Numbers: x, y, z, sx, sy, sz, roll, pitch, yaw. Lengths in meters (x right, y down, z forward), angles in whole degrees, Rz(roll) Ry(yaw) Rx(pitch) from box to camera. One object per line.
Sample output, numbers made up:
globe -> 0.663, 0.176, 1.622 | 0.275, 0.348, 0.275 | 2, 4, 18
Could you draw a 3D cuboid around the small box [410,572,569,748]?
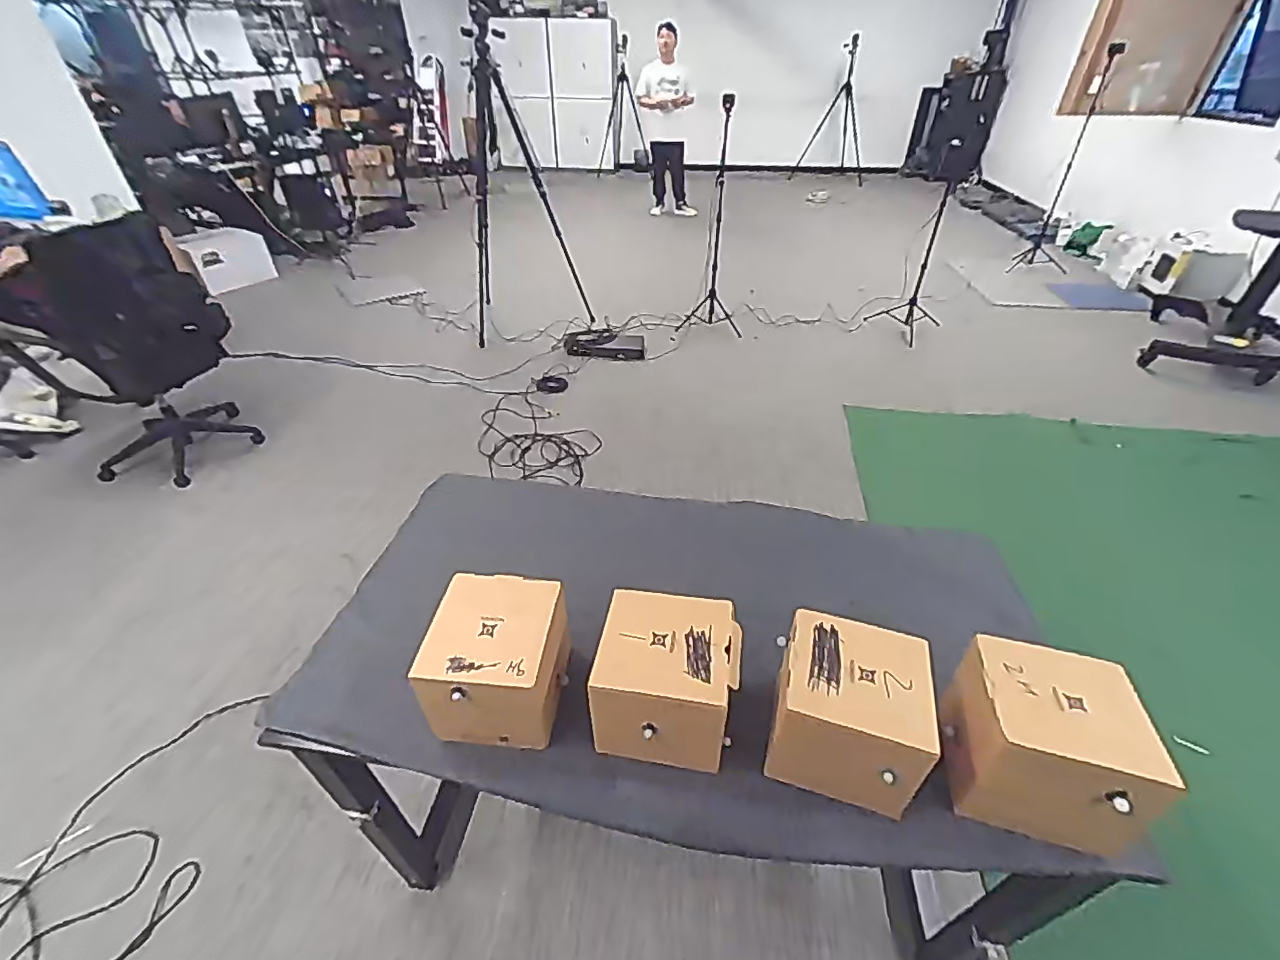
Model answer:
small box -> -0.204, 0.260, 0.793 | 0.168, 0.176, 0.179 | 3, 38, 6
